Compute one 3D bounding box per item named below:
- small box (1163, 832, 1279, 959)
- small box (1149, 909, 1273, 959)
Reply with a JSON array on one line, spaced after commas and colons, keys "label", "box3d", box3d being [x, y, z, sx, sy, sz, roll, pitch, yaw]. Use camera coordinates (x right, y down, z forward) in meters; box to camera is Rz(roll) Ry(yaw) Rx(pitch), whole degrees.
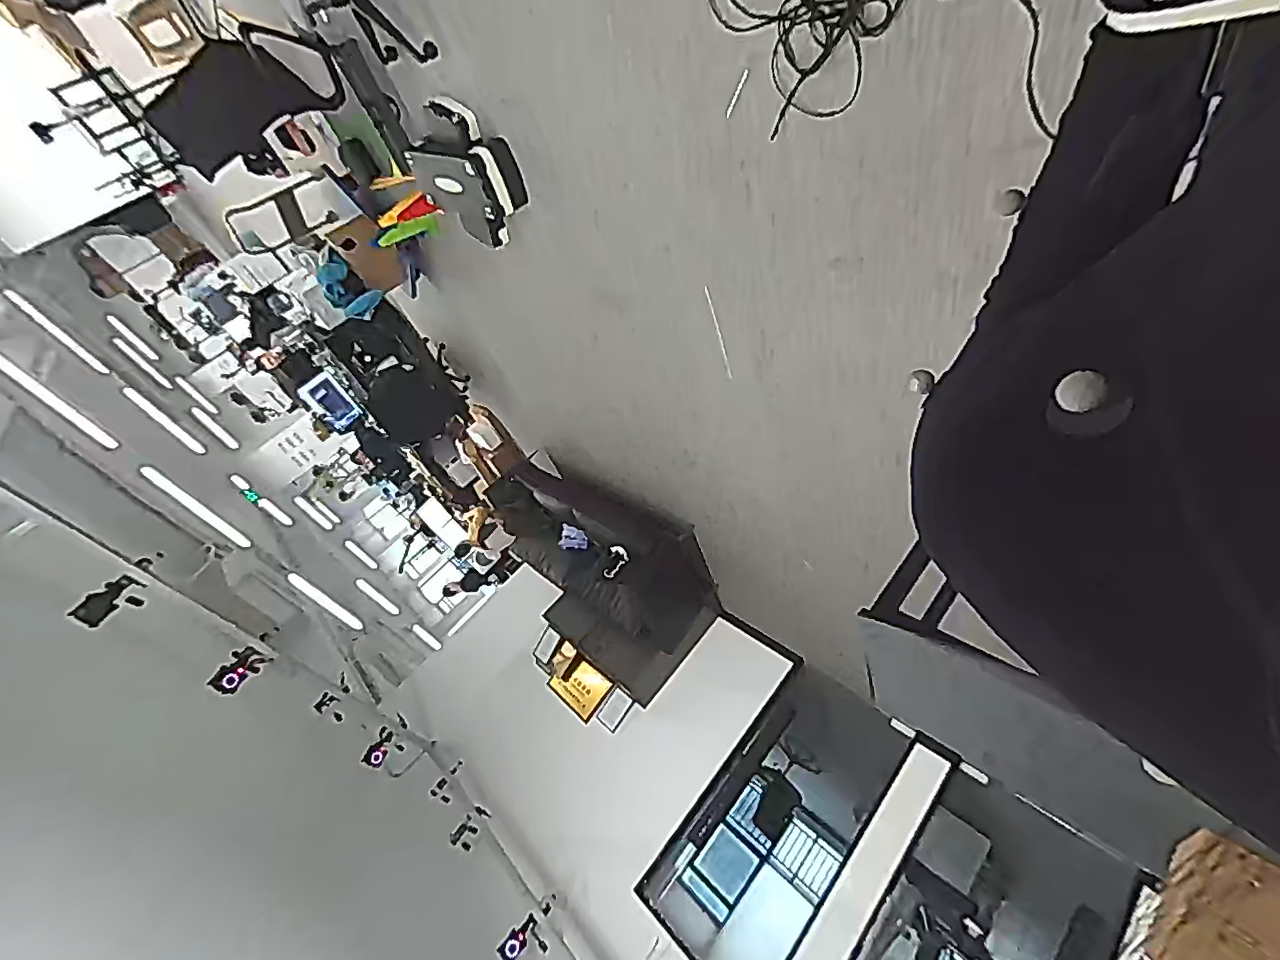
[{"label": "small box", "box3d": [1.238, 0.875, 1.117, 0.168, 0.176, 0.179, 25, 152, 42]}, {"label": "small box", "box3d": [1.133, 0.986, 1.059, 0.168, 0.176, 0.179, 27, 154, 40]}]
